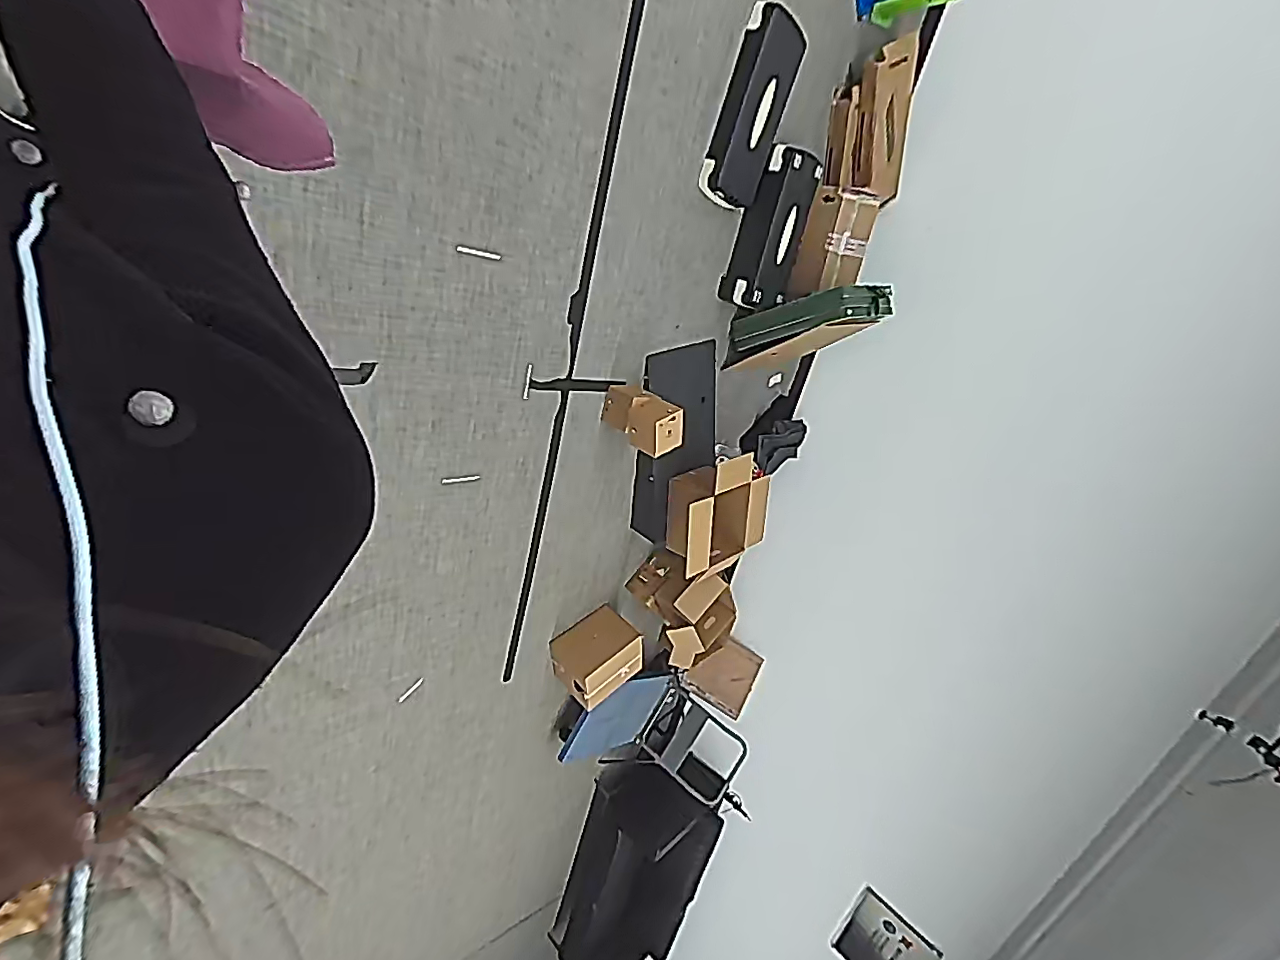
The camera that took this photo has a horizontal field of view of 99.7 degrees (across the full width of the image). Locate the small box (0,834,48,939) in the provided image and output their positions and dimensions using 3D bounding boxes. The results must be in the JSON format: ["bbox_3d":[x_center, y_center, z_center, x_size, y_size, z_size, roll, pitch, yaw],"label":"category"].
[{"bbox_3d":[-1.742,1.117,1.463,0.179,0.176,0.168,-1,116,-51],"label":"small box"}]
